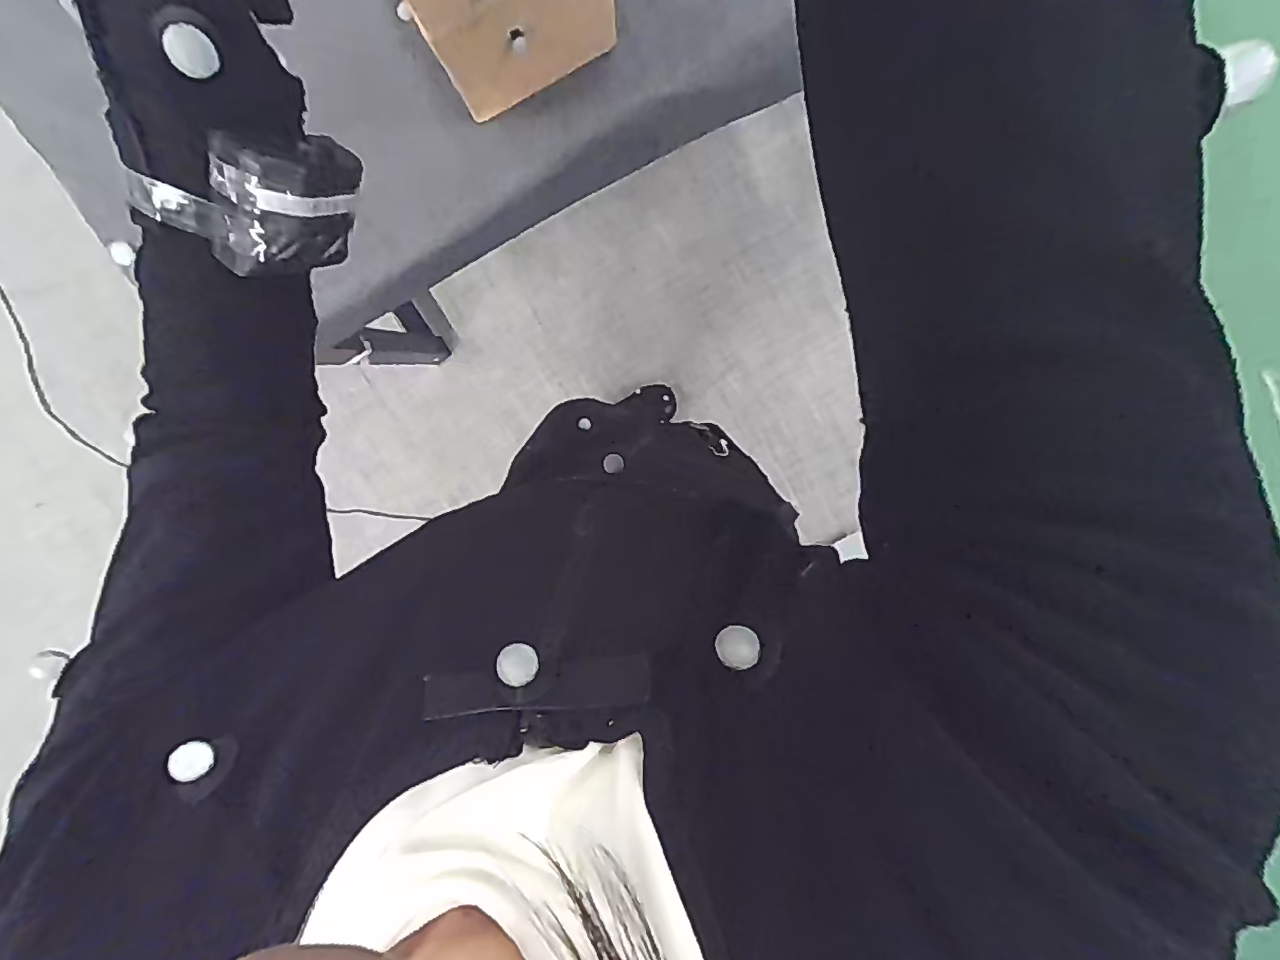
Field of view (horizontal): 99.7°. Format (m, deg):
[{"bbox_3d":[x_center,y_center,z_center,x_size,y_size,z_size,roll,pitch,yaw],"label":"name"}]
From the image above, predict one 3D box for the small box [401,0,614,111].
[{"bbox_3d":[-0.138,-0.491,0.499,0.179,0.176,0.168,-26,100,6],"label":"small box"}]
